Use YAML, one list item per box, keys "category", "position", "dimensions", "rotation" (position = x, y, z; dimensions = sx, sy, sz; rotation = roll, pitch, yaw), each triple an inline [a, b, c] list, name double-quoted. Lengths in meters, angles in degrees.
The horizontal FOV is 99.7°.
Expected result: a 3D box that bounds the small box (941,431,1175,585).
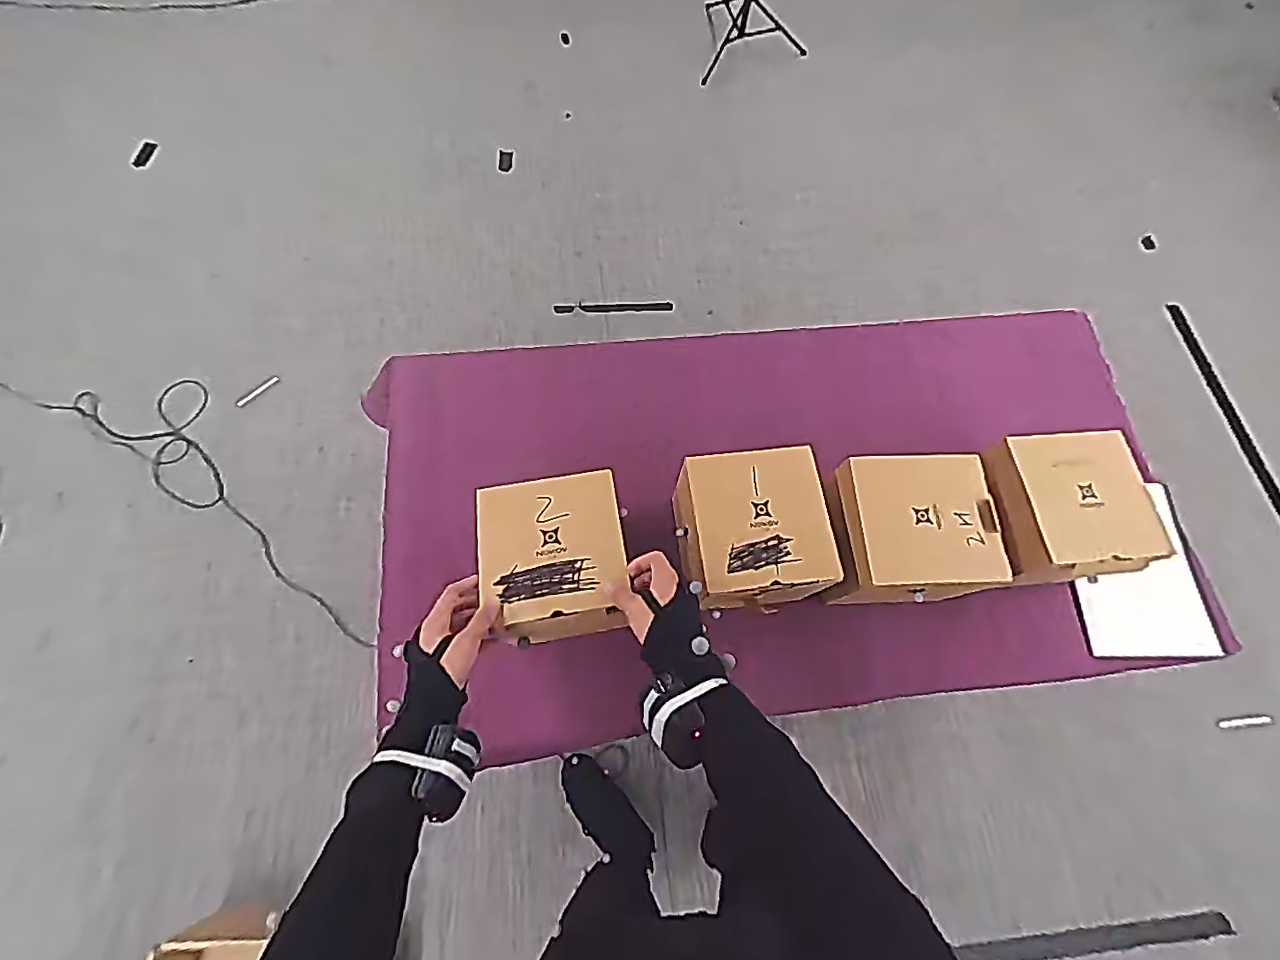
- category: "small box"
  position: [0.562, 0.047, 0.756]
  dimensions: [0.168, 0.176, 0.179]
  rotation: [-3, 69, -4]
